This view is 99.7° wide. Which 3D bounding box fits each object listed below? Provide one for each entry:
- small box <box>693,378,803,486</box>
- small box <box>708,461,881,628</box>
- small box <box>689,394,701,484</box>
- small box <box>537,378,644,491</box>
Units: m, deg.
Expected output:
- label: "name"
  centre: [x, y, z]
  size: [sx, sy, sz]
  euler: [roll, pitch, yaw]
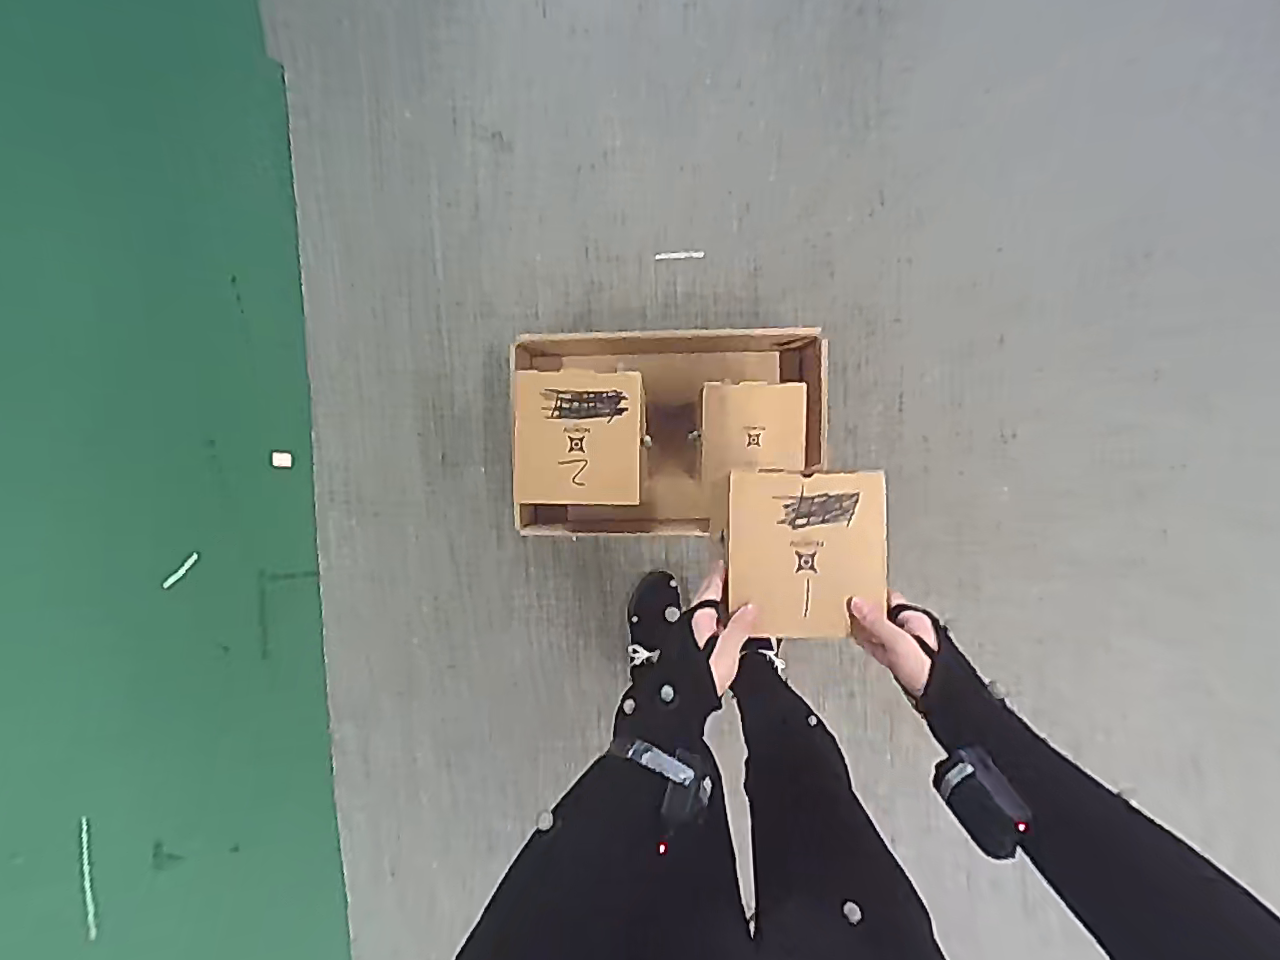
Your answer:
- label: "small box"
  centre: [0.182, -0.080, 0.953]
  size: [0.168, 0.176, 0.179]
  euler: [1, 94, 3]
- label: "small box"
  centre: [0.174, 0.072, 0.657]
  size: [0.168, 0.176, 0.179]
  euler: [1, 88, 0]
- label: "small box"
  centre: [0.189, -0.087, 1.117]
  size: [0.168, 0.176, 0.179]
  euler: [-1, 94, 2]
- label: "small box"
  centre: [-0.080, -0.077, 0.956]
  size: [0.168, 0.176, 0.179]
  euler: [4, 93, 1]
